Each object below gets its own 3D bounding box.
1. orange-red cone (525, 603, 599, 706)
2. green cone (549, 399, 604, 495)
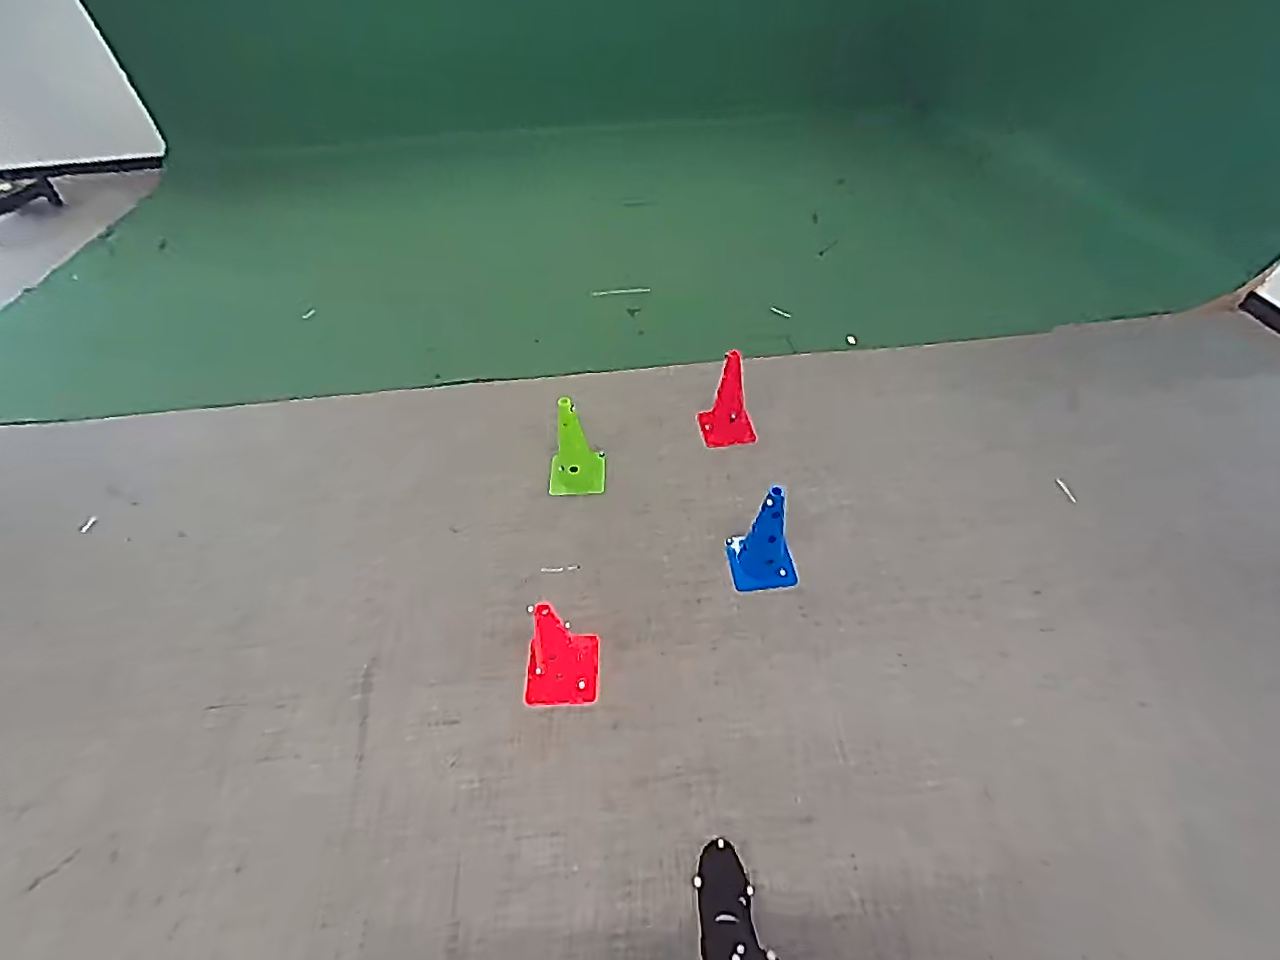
[{"bbox_3d":[-0.220,0.417,1.391,0.198,0.360,0.199,-1,47,1],"label":"orange-red cone"},{"bbox_3d":[-0.242,-0.136,1.869,0.200,0.368,0.202,-4,50,0],"label":"green cone"}]
